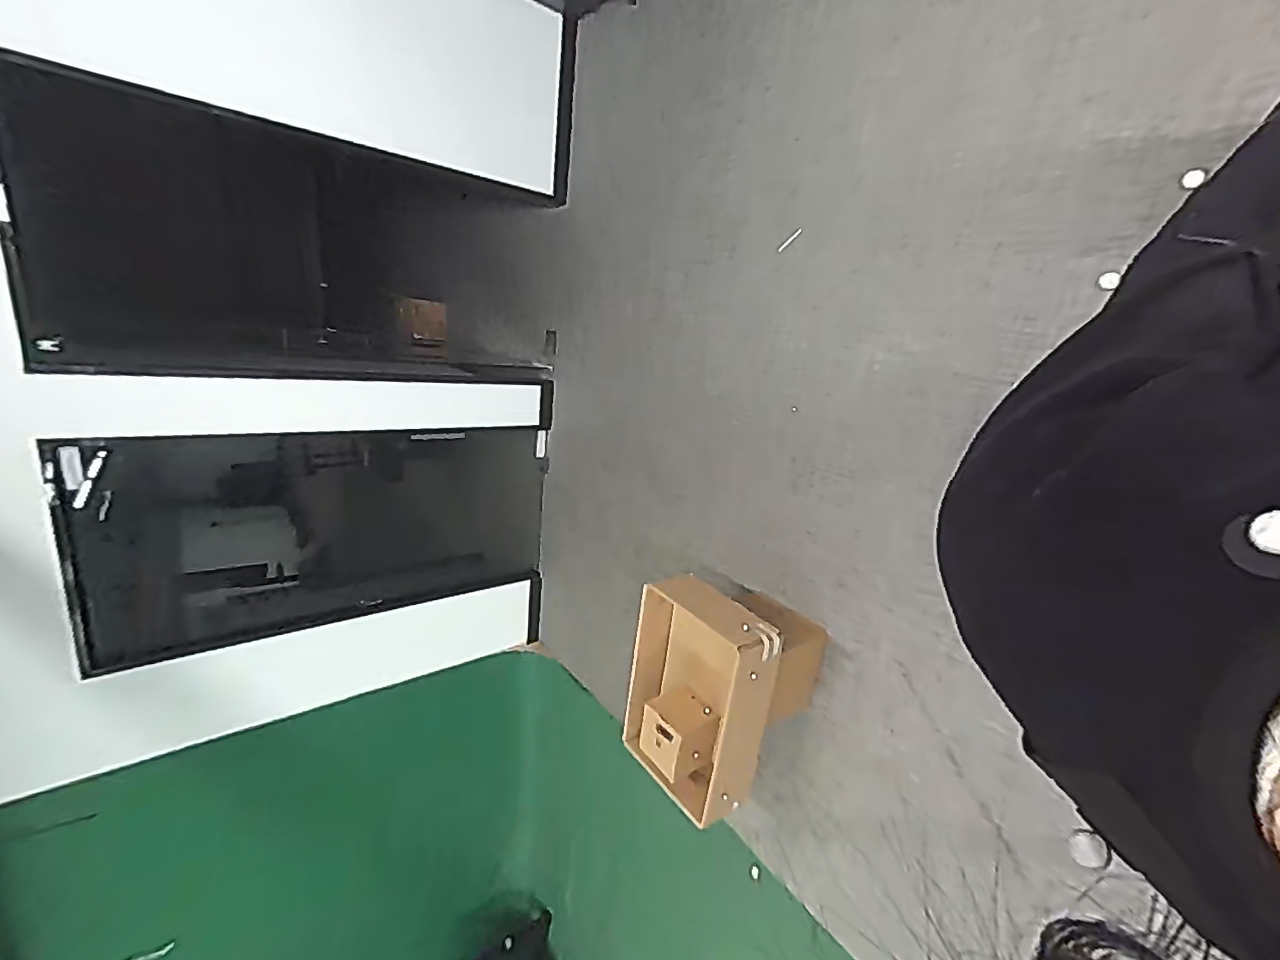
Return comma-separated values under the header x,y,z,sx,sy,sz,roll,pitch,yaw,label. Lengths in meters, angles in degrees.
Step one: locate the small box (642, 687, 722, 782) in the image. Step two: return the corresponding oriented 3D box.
x,y,z,sx,sy,sz,roll,pitch,yaw,label
0.133,0.773,1.664,0.168,0.176,0.179,28,116,47,small box
